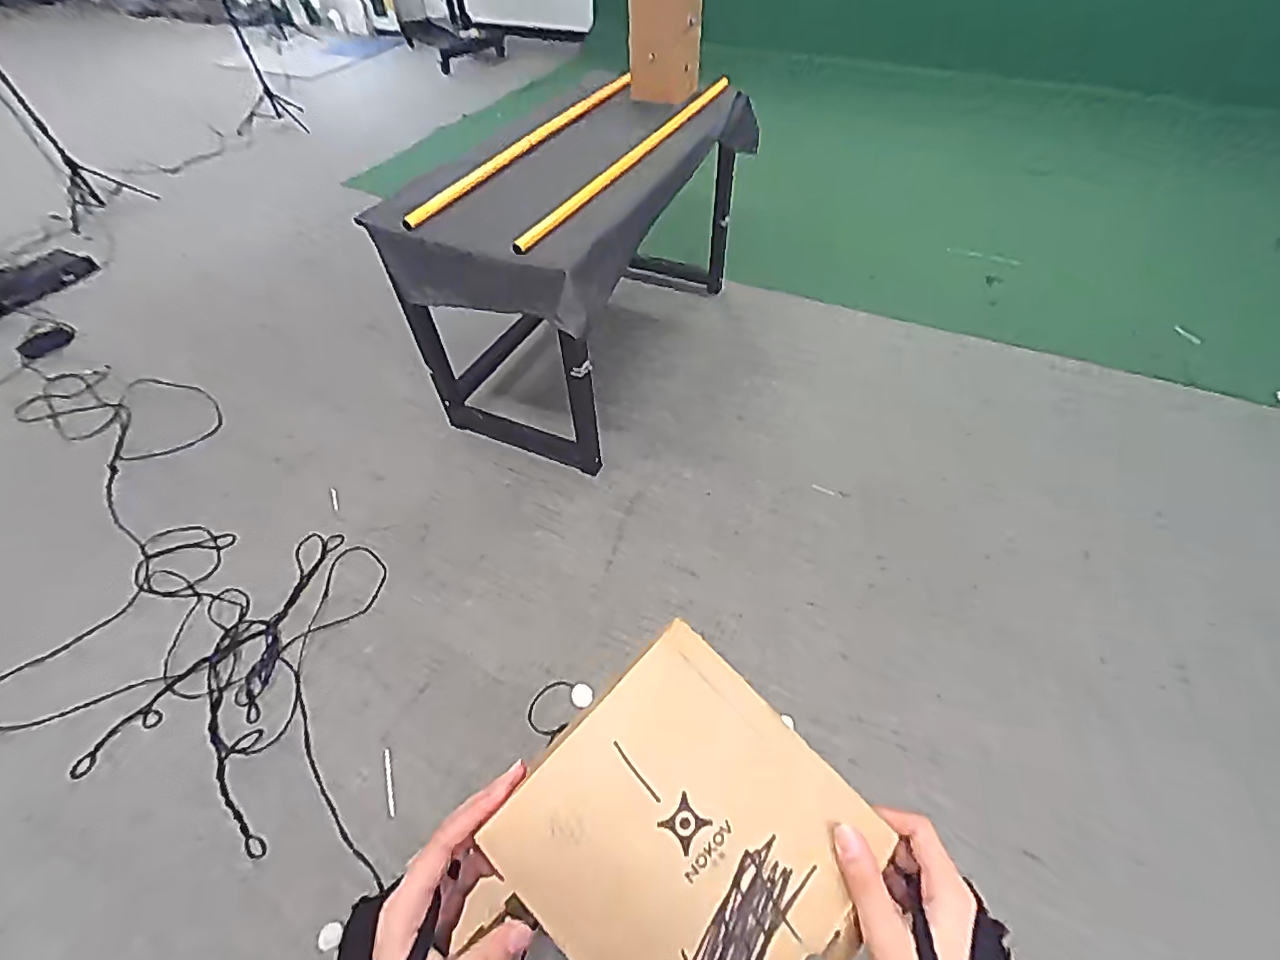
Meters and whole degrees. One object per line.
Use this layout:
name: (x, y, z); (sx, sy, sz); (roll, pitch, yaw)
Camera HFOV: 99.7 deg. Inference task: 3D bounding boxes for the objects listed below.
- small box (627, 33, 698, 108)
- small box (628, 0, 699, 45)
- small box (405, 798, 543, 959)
small box: (0.076, -1.345, 1.768); (0.179, 0.176, 0.168); (20, 55, 18)
small box: (0.071, -1.451, 1.644); (0.179, 0.176, 0.168); (19, 56, 16)
small box: (-0.305, 0.747, 1.026); (0.168, 0.176, 0.179); (-36, 58, -24)
